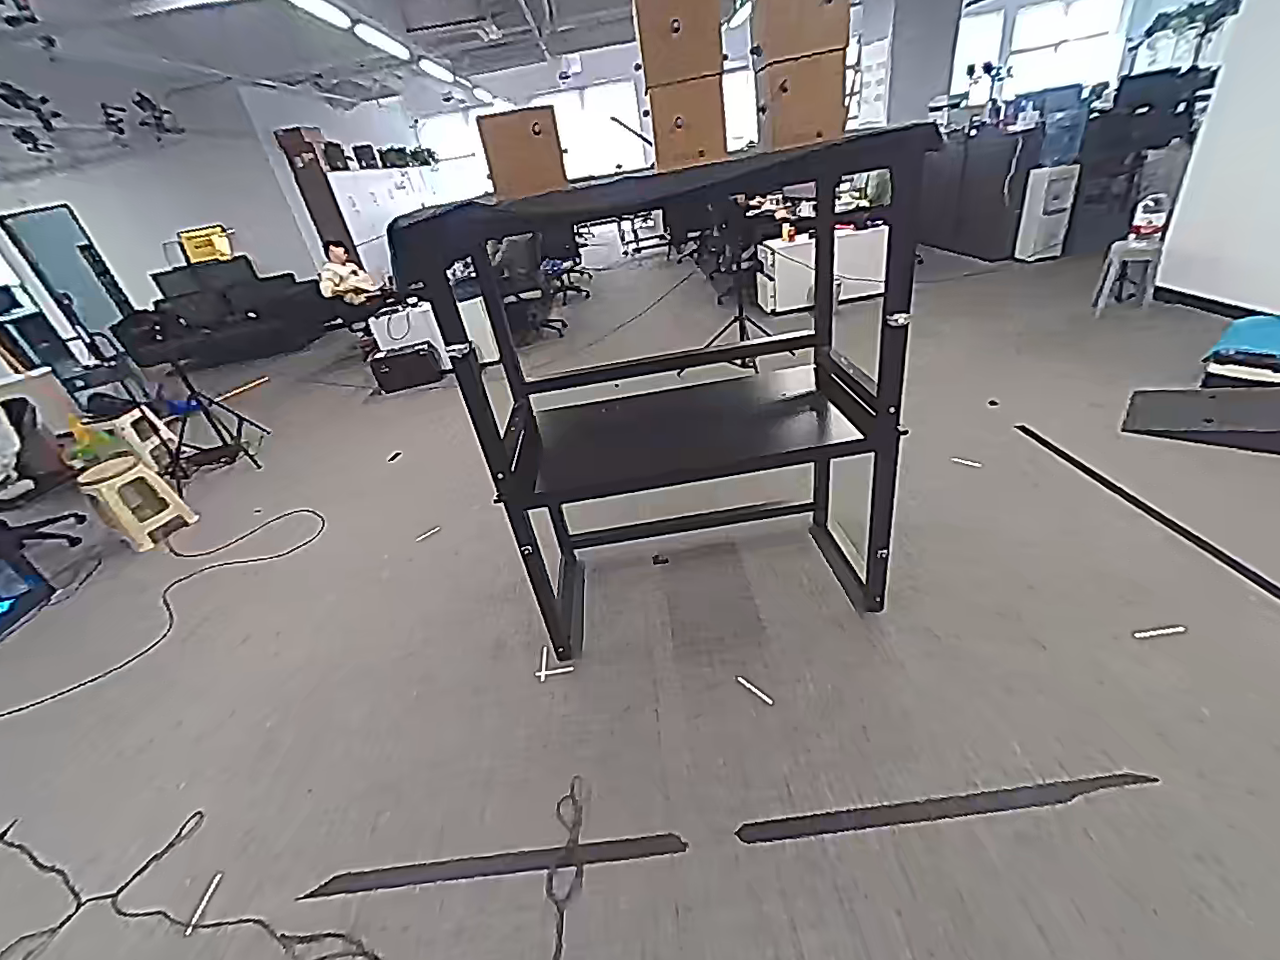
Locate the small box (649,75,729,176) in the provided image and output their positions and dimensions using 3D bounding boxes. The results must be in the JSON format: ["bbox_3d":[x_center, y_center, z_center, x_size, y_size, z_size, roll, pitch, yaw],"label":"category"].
[{"bbox_3d":[0.114,-0.830,1.281,0.168,0.176,0.179,-8,30,5],"label":"small box"}]

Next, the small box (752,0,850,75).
[{"bbox_3d":[0.344,-1.000,1.169,0.179,0.176,0.168,-10,28,3],"label":"small box"}]

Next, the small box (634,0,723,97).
[{"bbox_3d":[0.086,-0.965,1.191,0.179,0.176,0.168,-9,29,6],"label":"small box"}]

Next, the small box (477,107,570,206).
[{"bbox_3d":[-0.263,-0.757,1.272,0.179,0.176,0.168,-12,29,-2],"label":"small box"}]
